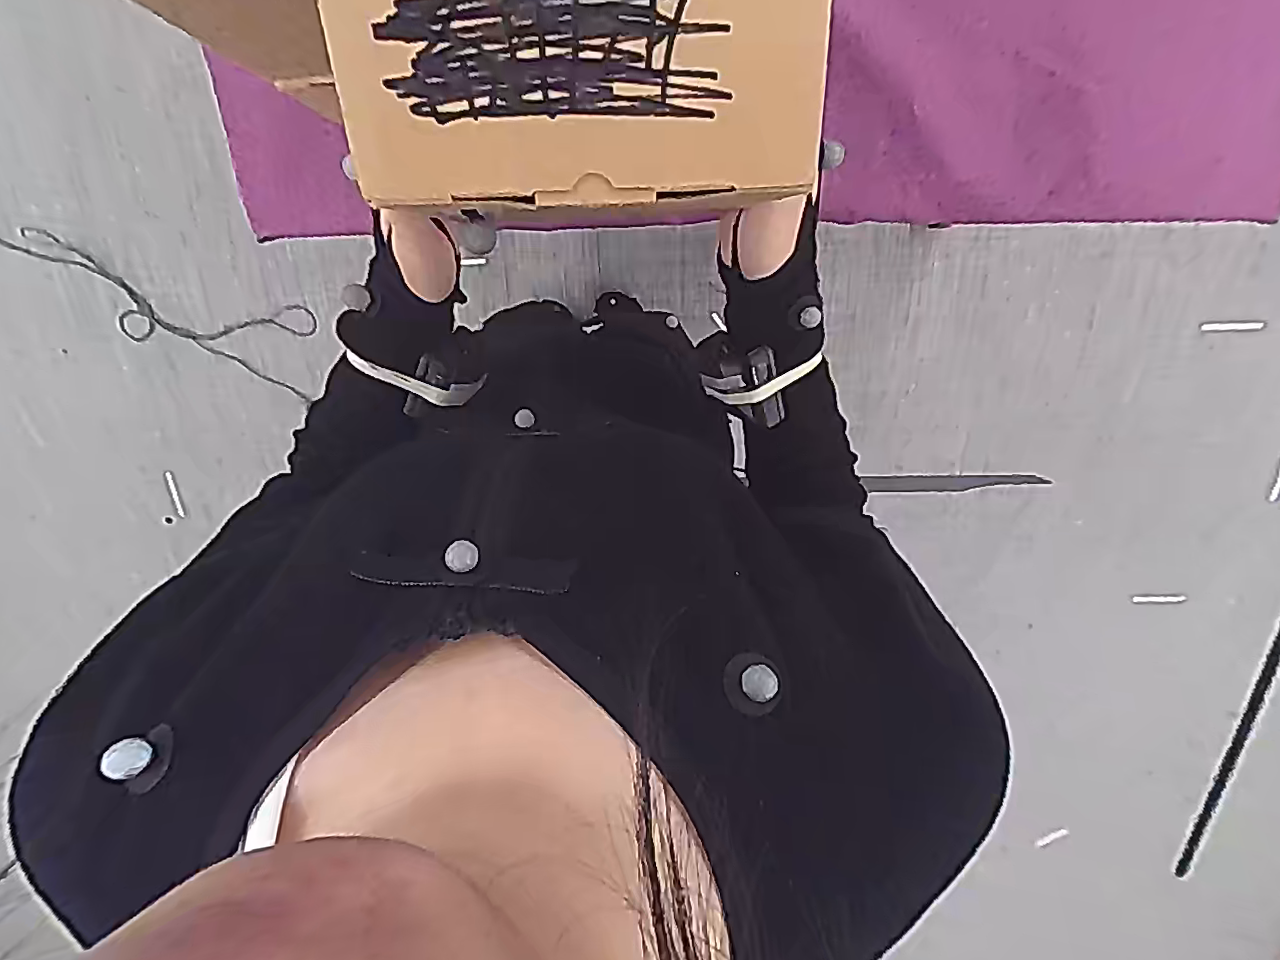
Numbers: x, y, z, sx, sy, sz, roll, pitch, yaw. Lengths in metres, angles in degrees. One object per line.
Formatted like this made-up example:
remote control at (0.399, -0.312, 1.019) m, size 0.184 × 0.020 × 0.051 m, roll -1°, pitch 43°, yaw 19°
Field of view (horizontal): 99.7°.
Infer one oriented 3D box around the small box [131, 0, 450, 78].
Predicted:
small box at (-0.243, -0.401, 0.358) m, size 0.179 × 0.176 × 0.168 m, roll -5°, pitch 107°, yaw 3°

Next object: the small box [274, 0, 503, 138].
small box at (-0.240, -0.452, 0.512) m, size 0.168 × 0.176 × 0.179 m, roll -4°, pitch 109°, yaw 2°
